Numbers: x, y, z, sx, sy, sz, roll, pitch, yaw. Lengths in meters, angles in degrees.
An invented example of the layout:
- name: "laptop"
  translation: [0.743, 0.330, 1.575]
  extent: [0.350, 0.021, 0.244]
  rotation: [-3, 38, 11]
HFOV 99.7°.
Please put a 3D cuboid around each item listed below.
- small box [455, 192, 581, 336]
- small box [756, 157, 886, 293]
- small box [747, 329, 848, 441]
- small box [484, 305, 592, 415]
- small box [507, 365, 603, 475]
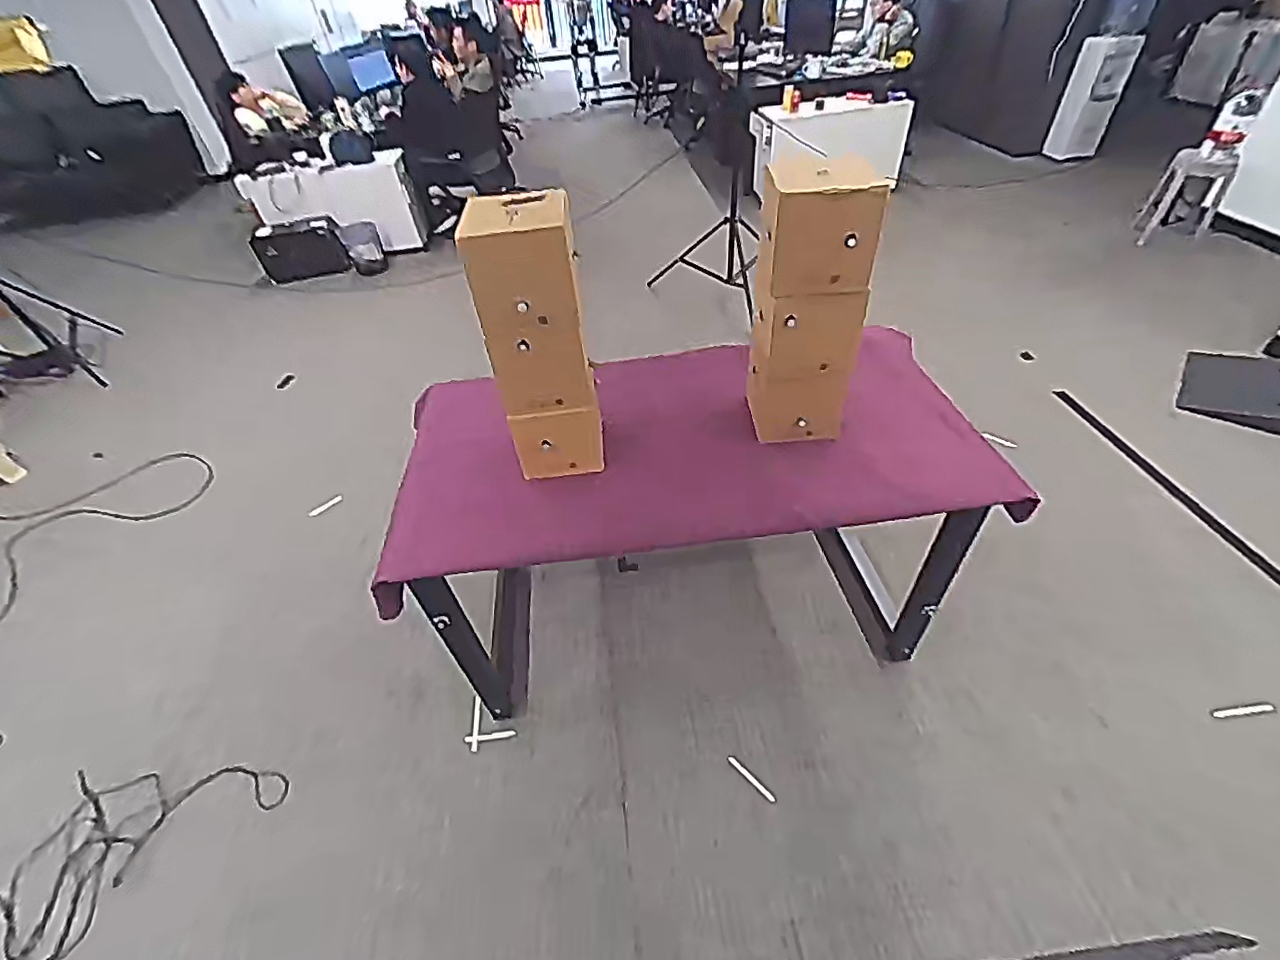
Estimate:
- name: "small box"
  translation: [-0.193, -0.363, 0.910]
  extent: [0.168, 0.176, 0.179]
  rotation: [-7, 44, -1]
- name: "small box"
  translation: [0.296, -0.432, 0.925]
  extent: [0.168, 0.176, 0.179]
  rotation: [-2, 43, 3]
- name: "small box"
  translation: [0.326, -0.203, 1.157]
  extent: [0.168, 0.176, 0.179]
  rotation: [-4, 44, 3]
- name: "small box"
  translation: [-0.185, -0.246, 1.026]
  extent: [0.168, 0.176, 0.179]
  rotation: [-8, 43, -1]
- name: "small box"
  translation: [-0.171, -0.124, 1.135]
  extent: [0.168, 0.176, 0.179]
  rotation: [-7, 44, -1]
